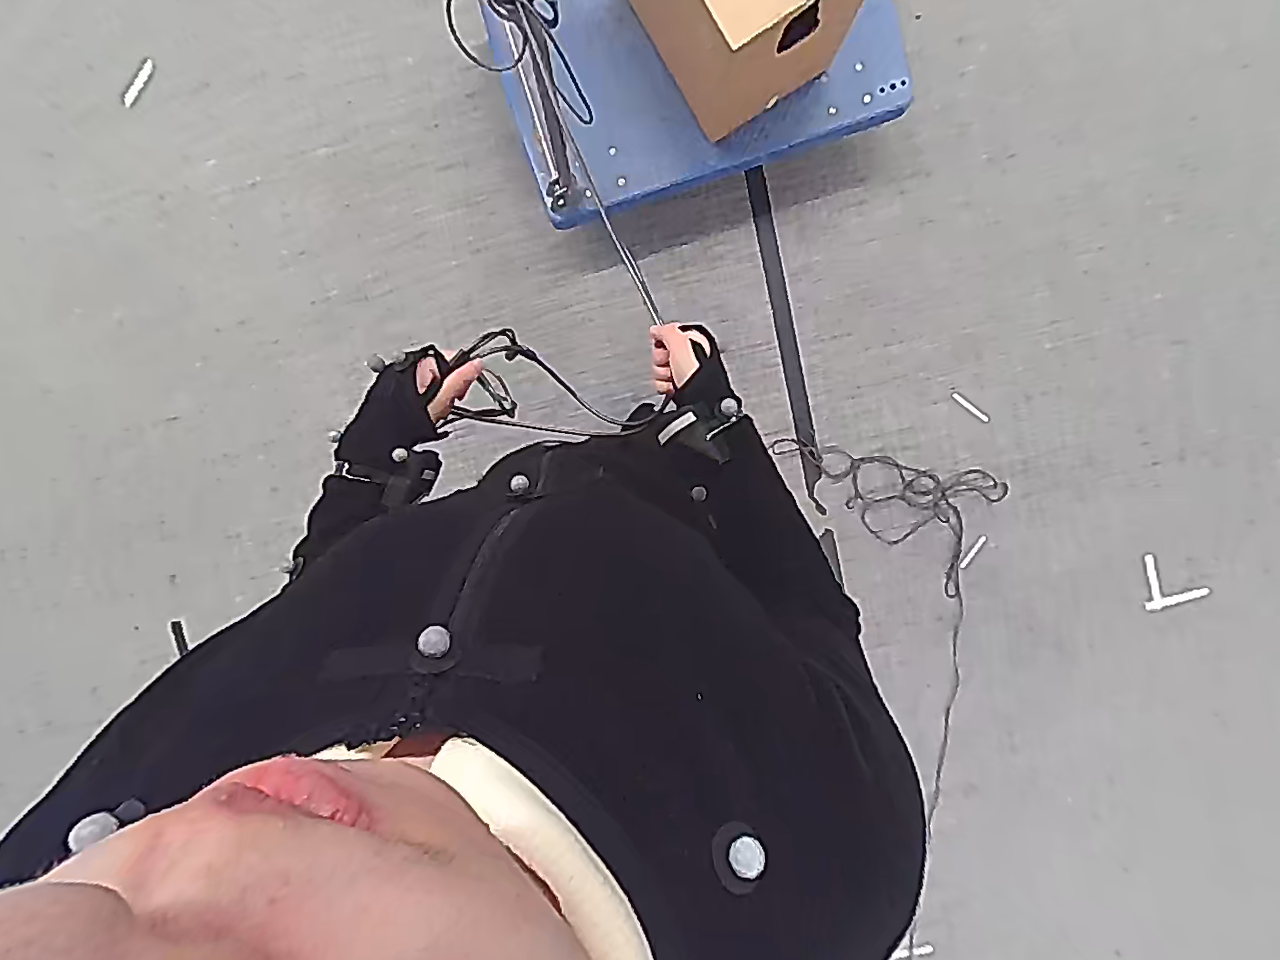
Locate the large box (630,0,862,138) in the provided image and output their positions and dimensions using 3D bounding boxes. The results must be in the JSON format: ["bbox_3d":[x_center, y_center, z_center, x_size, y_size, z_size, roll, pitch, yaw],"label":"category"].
[{"bbox_3d":[0.184,-0.991,1.042,0.320,0.320,0.408,-32,96,4],"label":"large box"}]
